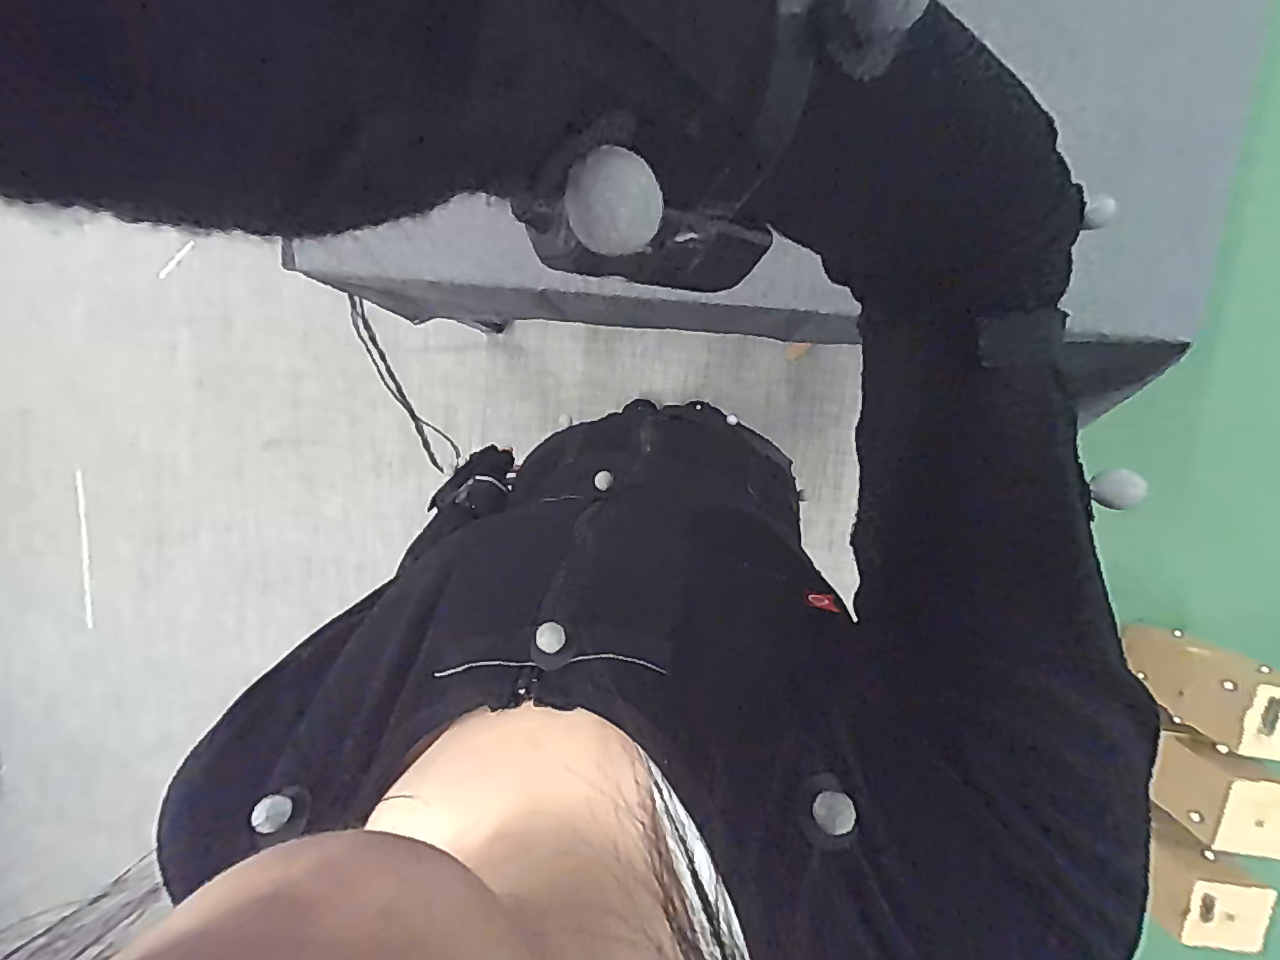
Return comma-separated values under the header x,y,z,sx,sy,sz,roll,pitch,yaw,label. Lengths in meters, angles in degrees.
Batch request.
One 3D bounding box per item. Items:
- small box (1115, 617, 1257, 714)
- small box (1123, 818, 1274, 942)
x,y,z,sx,sy,sz,roll,pitch,yaw,label
1.392,0.468,1.393,0.179,0.176,0.168,10,98,2,small box
1.324,0.949,1.297,0.179,0.176,0.168,5,99,3,small box
